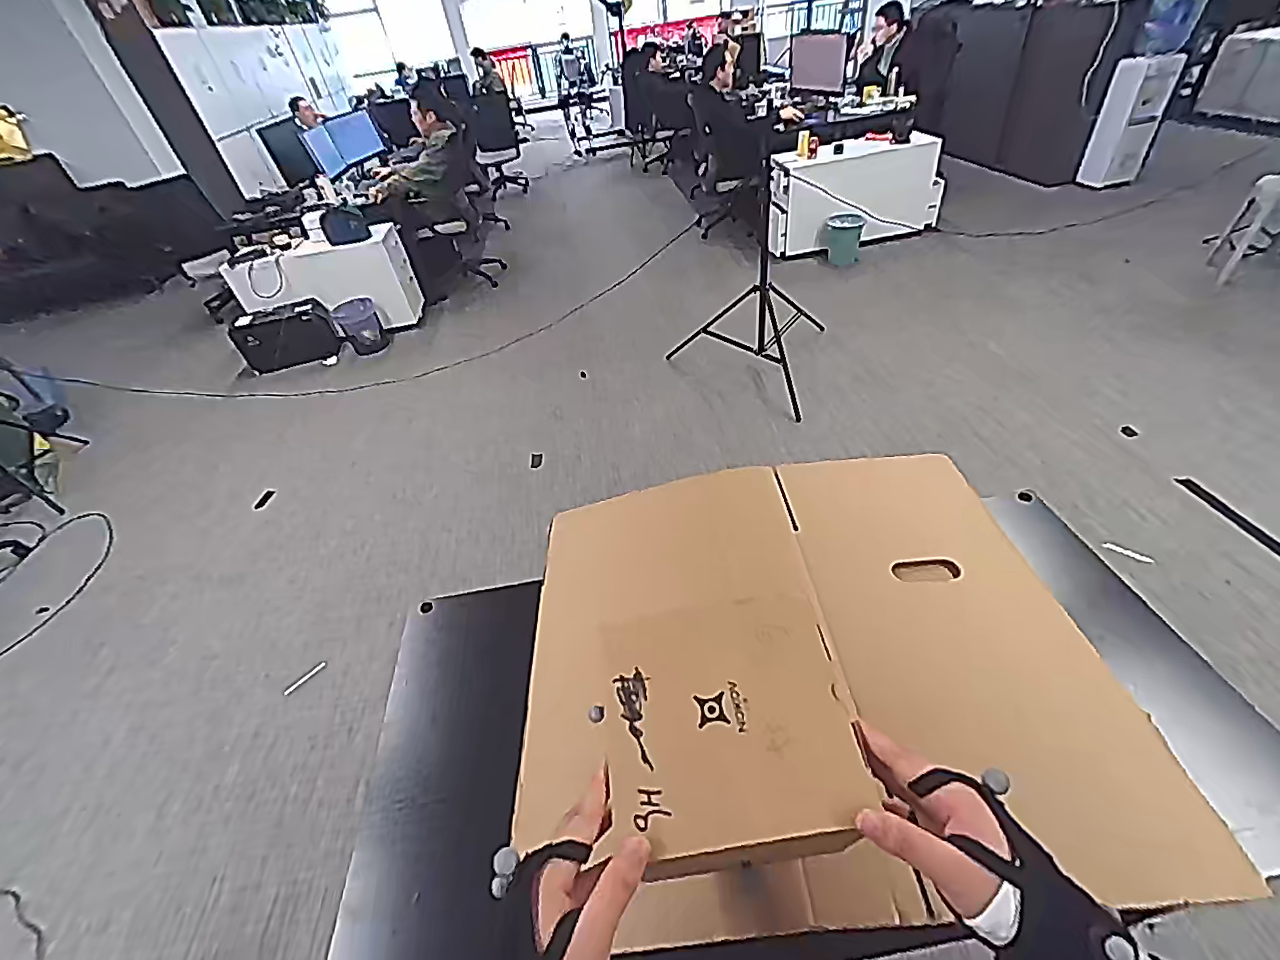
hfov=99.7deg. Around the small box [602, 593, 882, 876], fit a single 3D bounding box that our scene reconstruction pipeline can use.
[{"bbox_3d":[0.069,0.217,0.457,0.179,0.176,0.168,-9,49,-1],"label":"small box"}]
